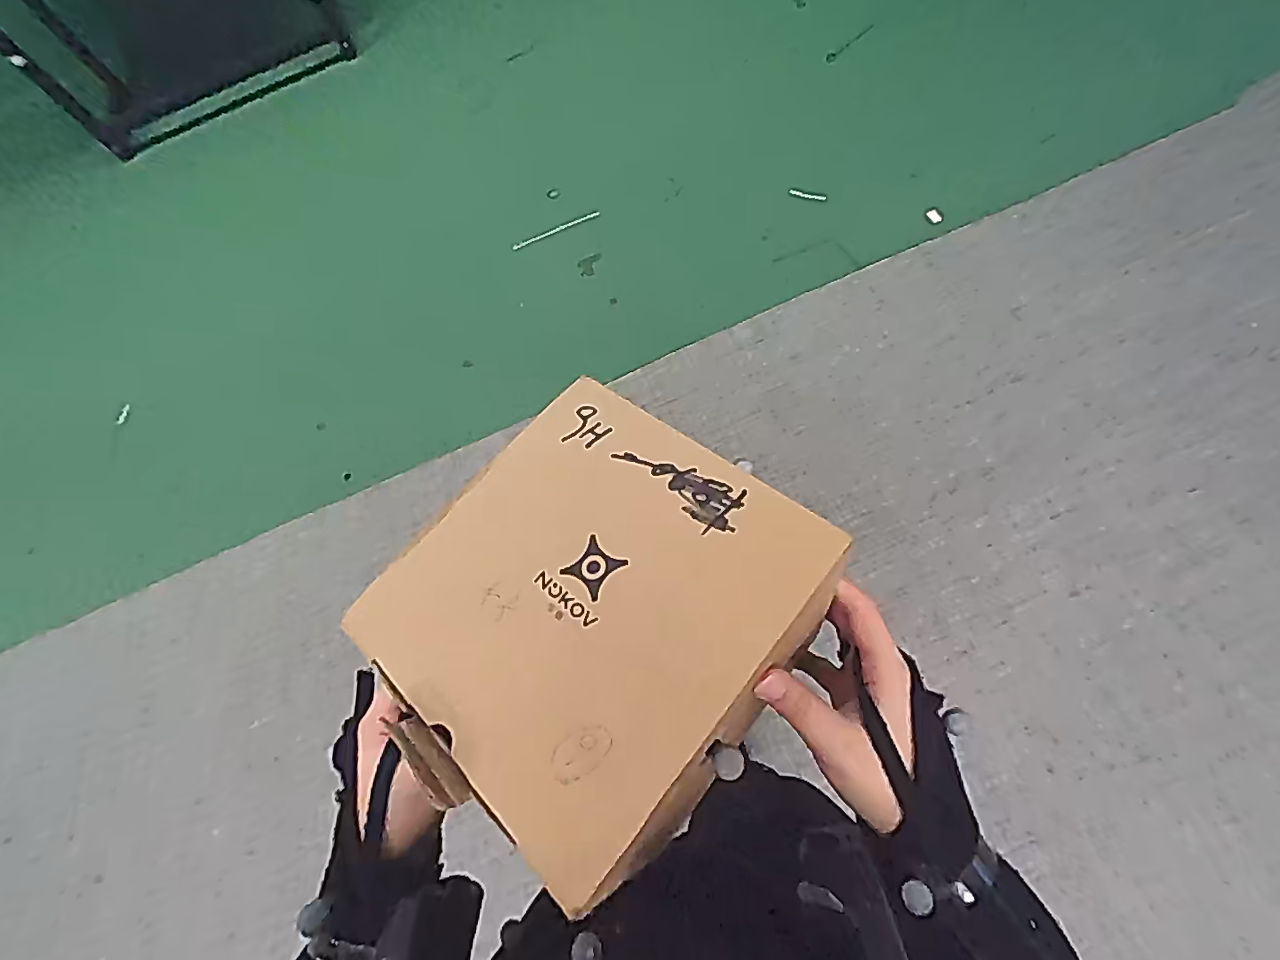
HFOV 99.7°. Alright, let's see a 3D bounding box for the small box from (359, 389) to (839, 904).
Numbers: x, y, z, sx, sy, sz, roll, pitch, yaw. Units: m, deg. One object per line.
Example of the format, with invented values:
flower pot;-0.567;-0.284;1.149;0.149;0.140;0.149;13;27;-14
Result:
small box;-0.008;0.088;0.317;0.168;0.176;0.179;34;74;26
